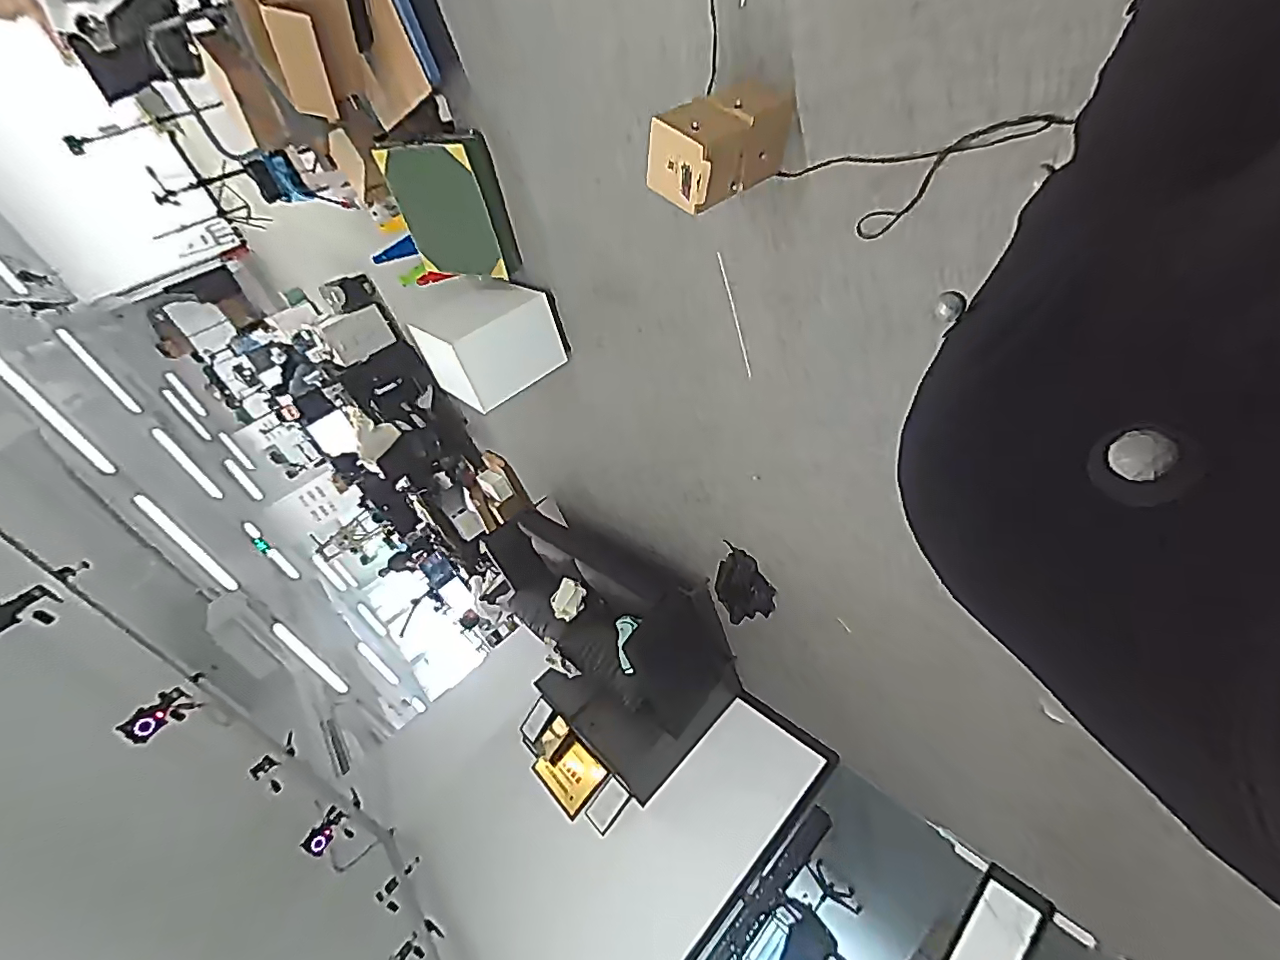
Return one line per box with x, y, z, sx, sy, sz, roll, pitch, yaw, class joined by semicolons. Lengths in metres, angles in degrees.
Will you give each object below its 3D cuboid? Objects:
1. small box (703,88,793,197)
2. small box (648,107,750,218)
0.271;-0.879;1.405;0.168;0.176;0.179;40;152;25;small box
0.146;-0.792;1.342;0.179;0.176;0.168;43;153;20;small box
